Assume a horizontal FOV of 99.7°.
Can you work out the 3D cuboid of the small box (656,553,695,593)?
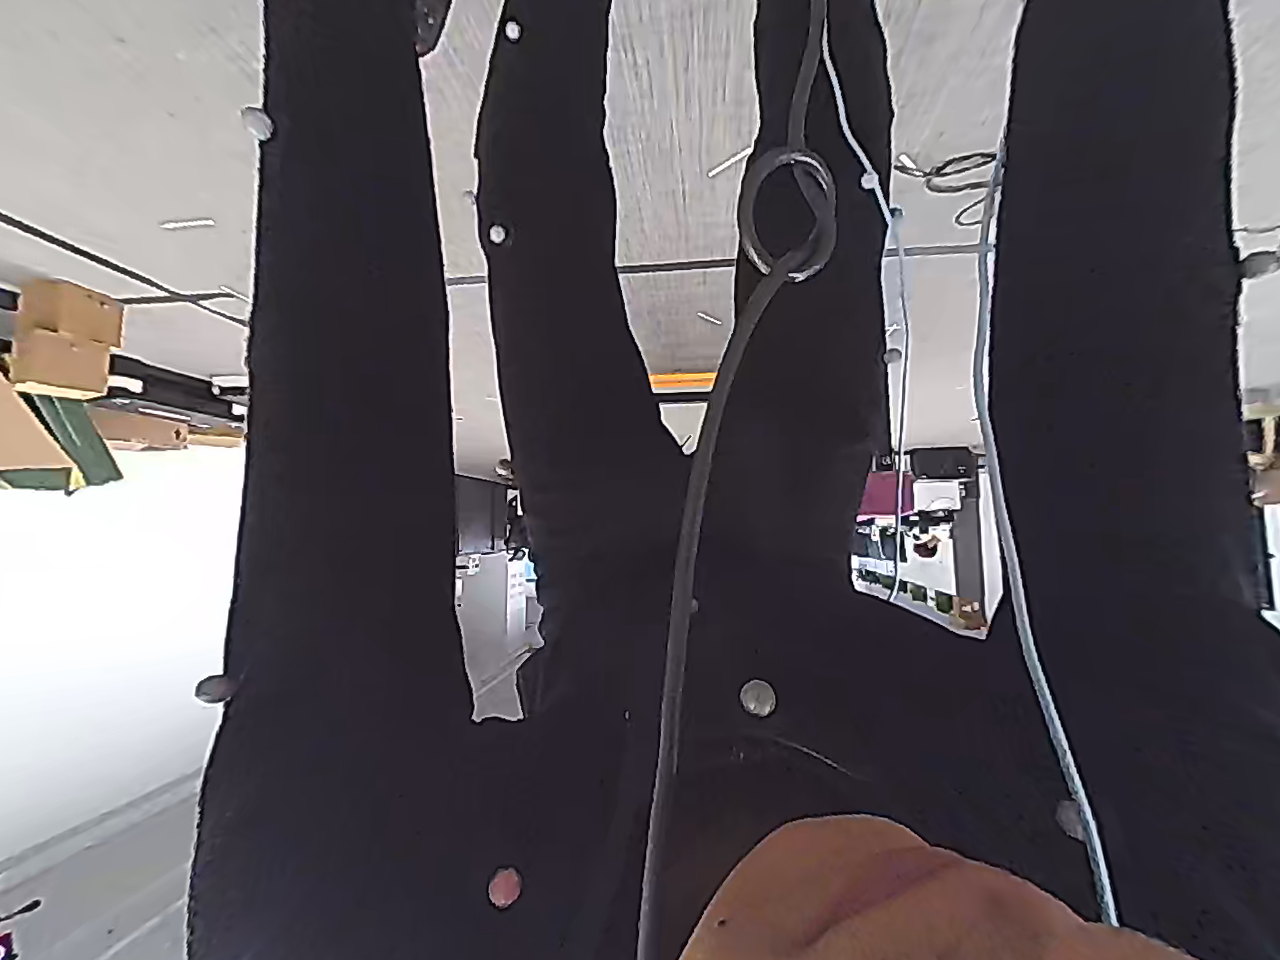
[{"bbox_3d":[0.157,0.397,2.352,0.168,0.176,0.179,-2,175,6],"label":"small box"}]

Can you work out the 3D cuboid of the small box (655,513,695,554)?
[{"bbox_3d":[0.154,0.233,2.356,0.168,0.176,0.179,-1,175,6],"label":"small box"}]
